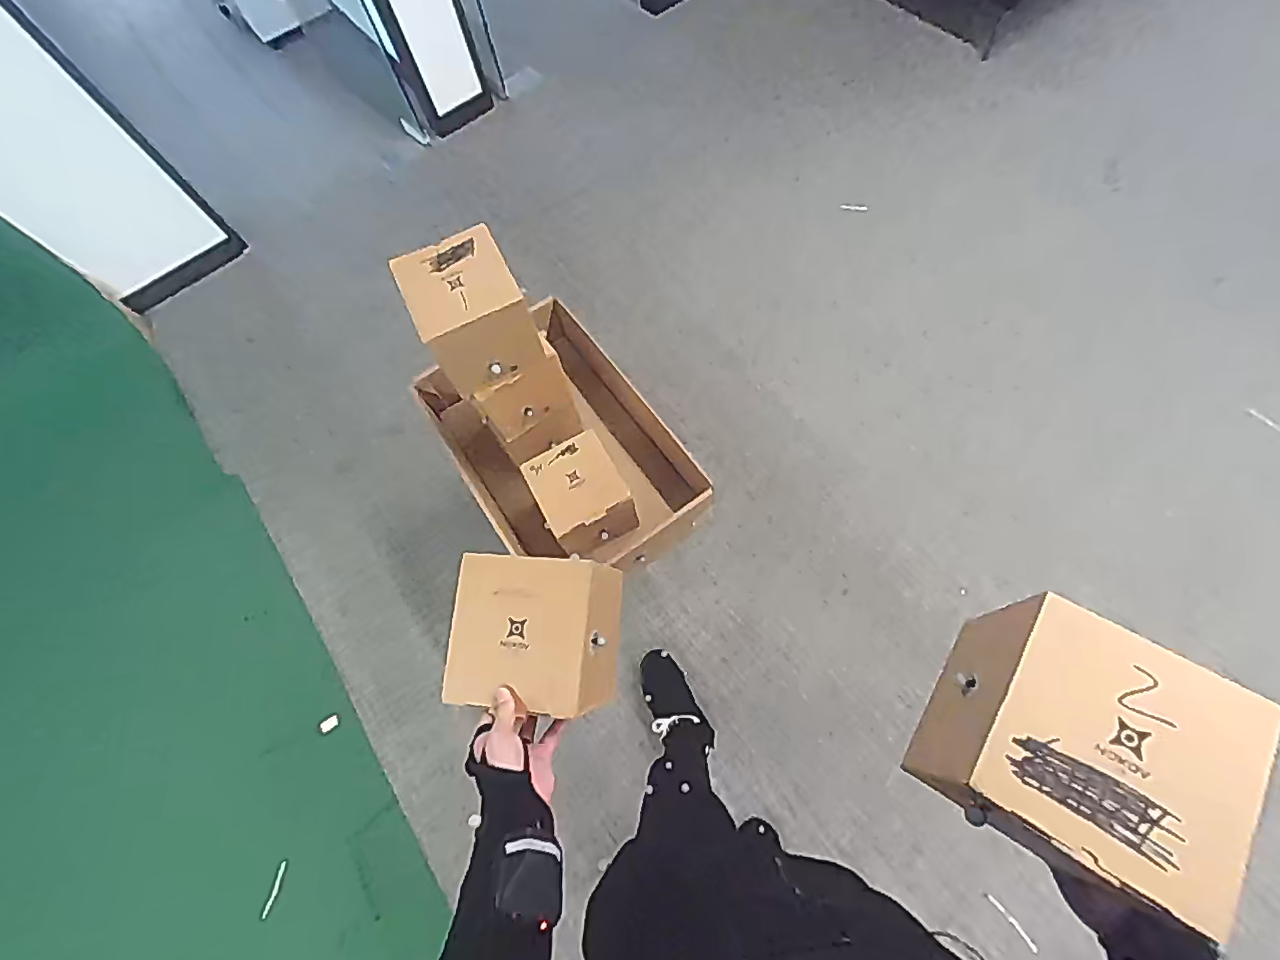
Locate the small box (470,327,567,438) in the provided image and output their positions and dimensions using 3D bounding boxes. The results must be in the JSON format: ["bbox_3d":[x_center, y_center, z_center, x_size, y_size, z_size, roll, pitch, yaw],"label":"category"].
[{"bbox_3d":[-0.264,-0.215,1.056,0.168,0.176,0.179,-35,71,-10],"label":"small box"}]

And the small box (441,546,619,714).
[{"bbox_3d":[-0.130,0.188,0.705,0.168,0.176,0.179,3,77,12],"label":"small box"}]

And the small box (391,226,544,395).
[{"bbox_3d":[-0.280,-0.276,0.905,0.168,0.176,0.179,-26,70,-7],"label":"small box"}]

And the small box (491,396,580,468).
[{"bbox_3d":[-0.255,-0.157,1.207,0.168,0.176,0.179,-35,70,-9],"label":"small box"}]
